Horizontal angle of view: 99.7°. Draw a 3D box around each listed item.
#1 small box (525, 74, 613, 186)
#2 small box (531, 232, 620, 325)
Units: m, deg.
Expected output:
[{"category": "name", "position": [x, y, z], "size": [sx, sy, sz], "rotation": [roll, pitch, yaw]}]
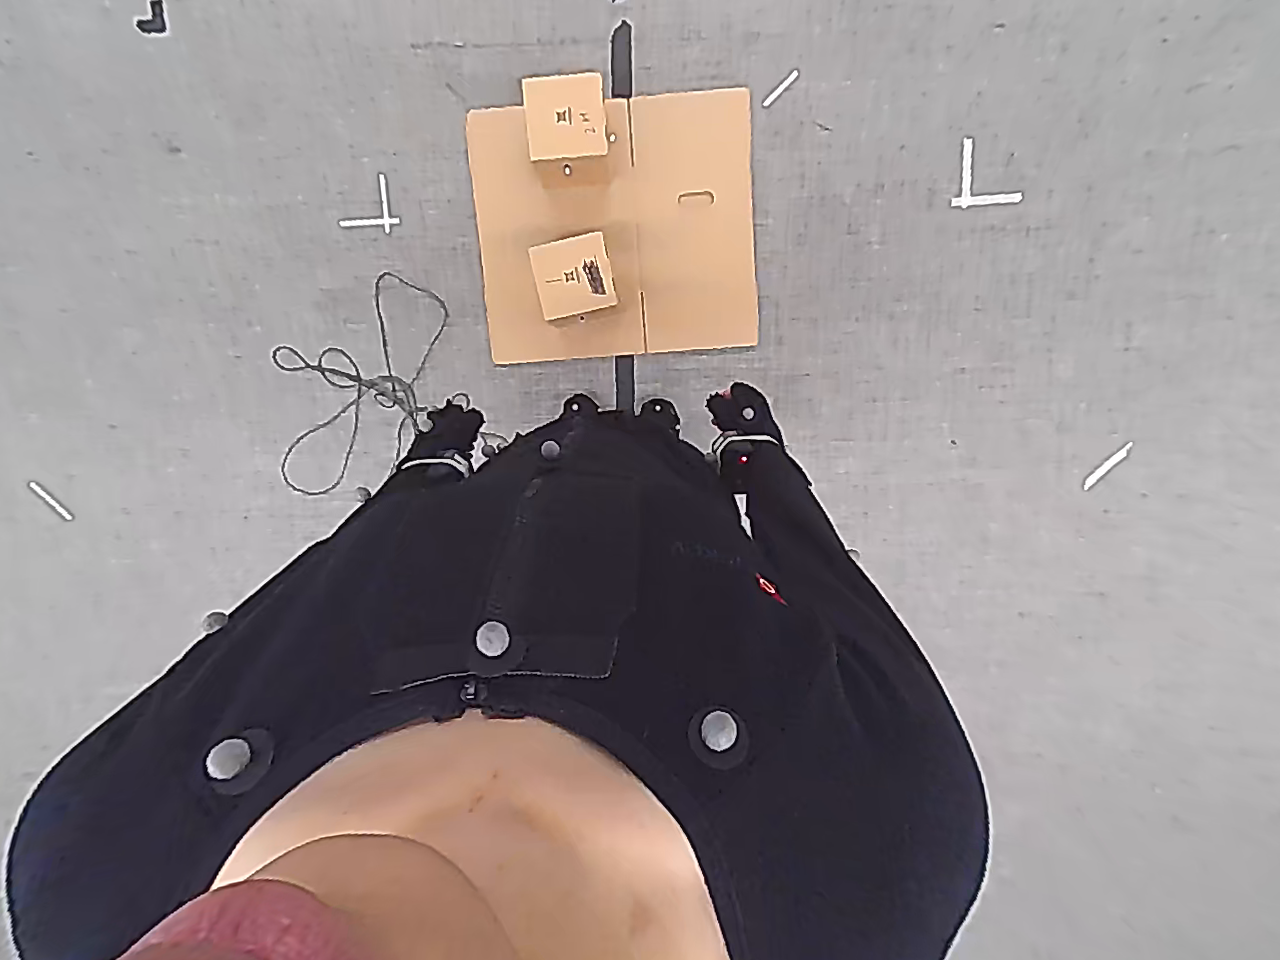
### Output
[{"category": "small box", "position": [-0.158, -0.804, 1.257], "size": [0.179, 0.176, 0.168], "rotation": [-4, 100, 0]}, {"category": "small box", "position": [-0.148, -0.482, 1.314], "size": [0.179, 0.176, 0.168], "rotation": [-12, 99, 3]}]
